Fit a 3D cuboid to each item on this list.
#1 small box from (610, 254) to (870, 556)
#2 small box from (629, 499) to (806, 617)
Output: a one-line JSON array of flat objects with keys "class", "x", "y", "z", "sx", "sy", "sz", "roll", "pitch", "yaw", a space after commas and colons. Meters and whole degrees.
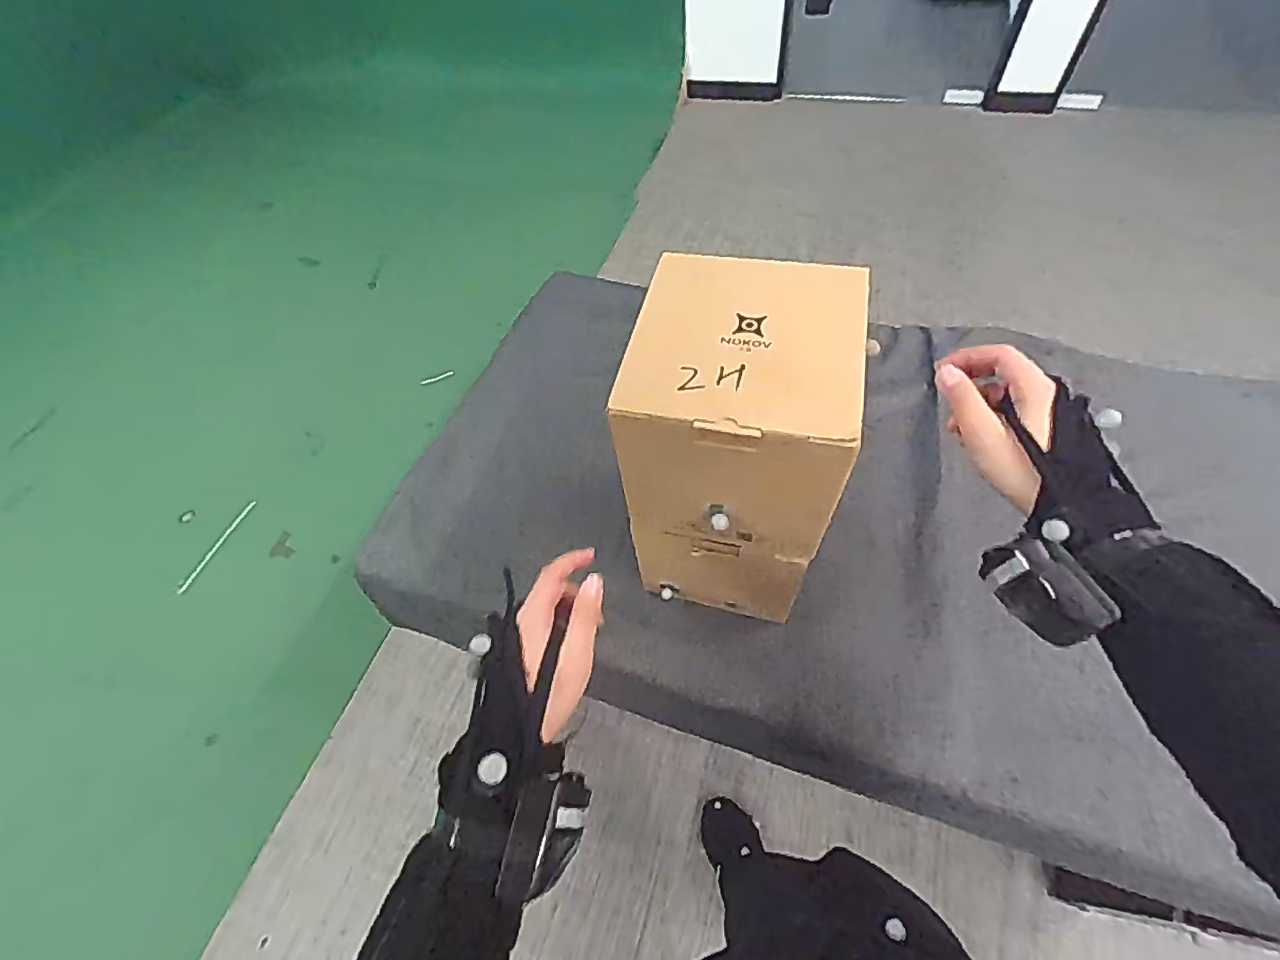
[{"class": "small box", "x": 0.085, "y": -0.060, "z": 0.456, "sx": 0.168, "sy": 0.176, "sz": 0.179, "roll": 9, "pitch": 59, "yaw": 13}, {"class": "small box", "x": 0.099, "y": 0.031, "z": 0.593, "sx": 0.168, "sy": 0.176, "sz": 0.179, "roll": 12, "pitch": 59, "yaw": 13}]
